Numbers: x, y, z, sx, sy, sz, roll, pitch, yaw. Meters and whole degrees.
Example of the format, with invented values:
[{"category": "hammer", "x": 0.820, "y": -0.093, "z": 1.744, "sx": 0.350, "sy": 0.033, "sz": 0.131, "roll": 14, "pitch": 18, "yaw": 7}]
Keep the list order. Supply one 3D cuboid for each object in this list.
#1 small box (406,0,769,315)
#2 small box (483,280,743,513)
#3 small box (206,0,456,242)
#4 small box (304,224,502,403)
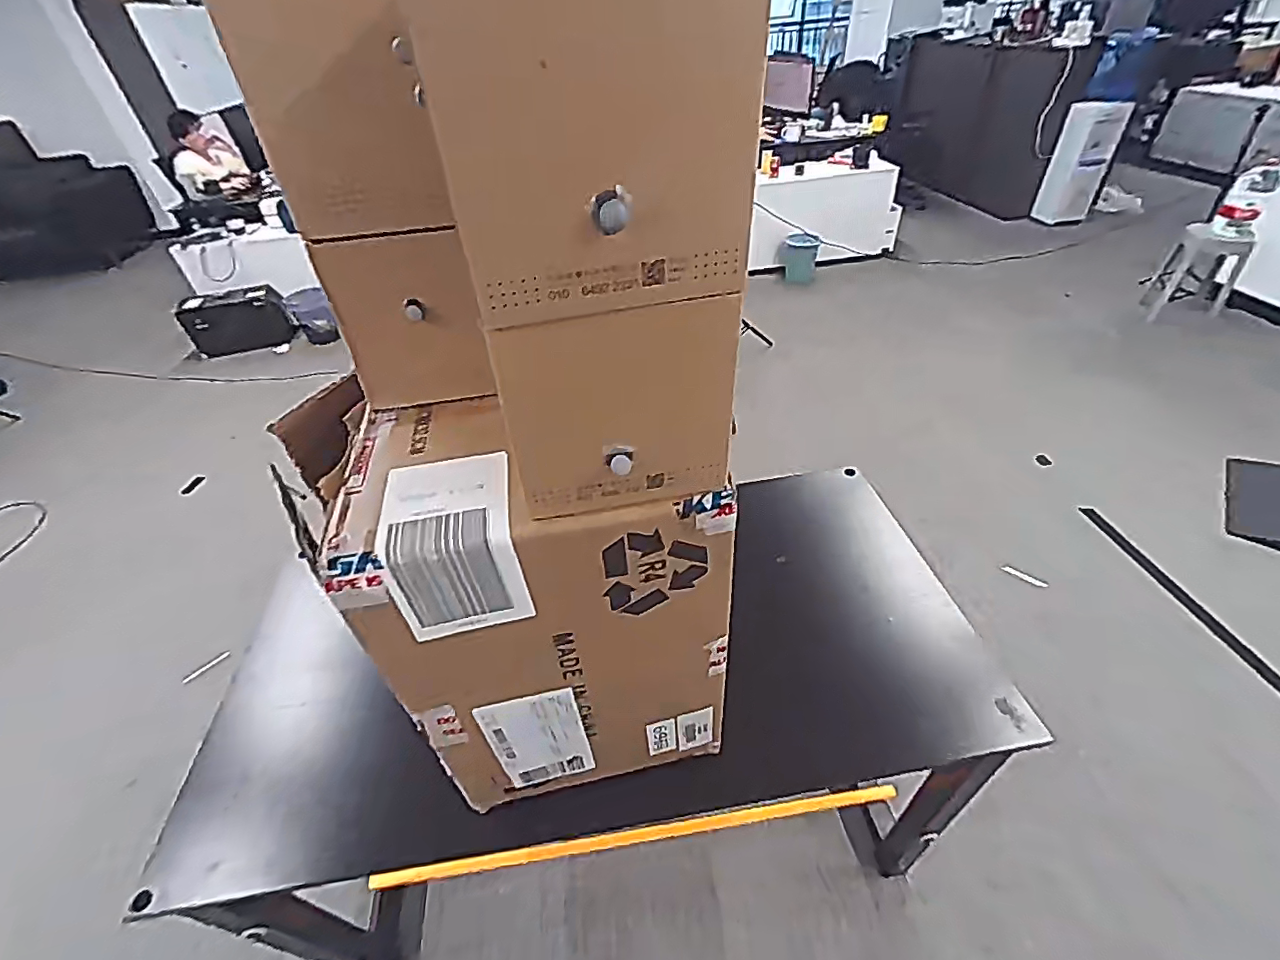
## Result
[{"category": "small box", "x": -0.037, "y": -0.221, "z": 0.334, "sx": 0.168, "sy": 0.176, "sz": 0.179, "roll": -12, "pitch": 42, "yaw": -9}, {"category": "small box", "x": -0.027, "y": -0.099, "z": 0.446, "sx": 0.168, "sy": 0.176, "sz": 0.179, "roll": -10, "pitch": 43, "yaw": -7}, {"category": "small box", "x": -0.215, "y": -0.321, "z": 0.467, "sx": 0.179, "sy": 0.176, "sz": 0.168, "roll": -12, "pitch": 39, "yaw": -10}, {"category": "small box", "x": -0.208, "y": -0.196, "z": 0.572, "sx": 0.179, "sy": 0.176, "sz": 0.168, "roll": -10, "pitch": 40, "yaw": -7}]
